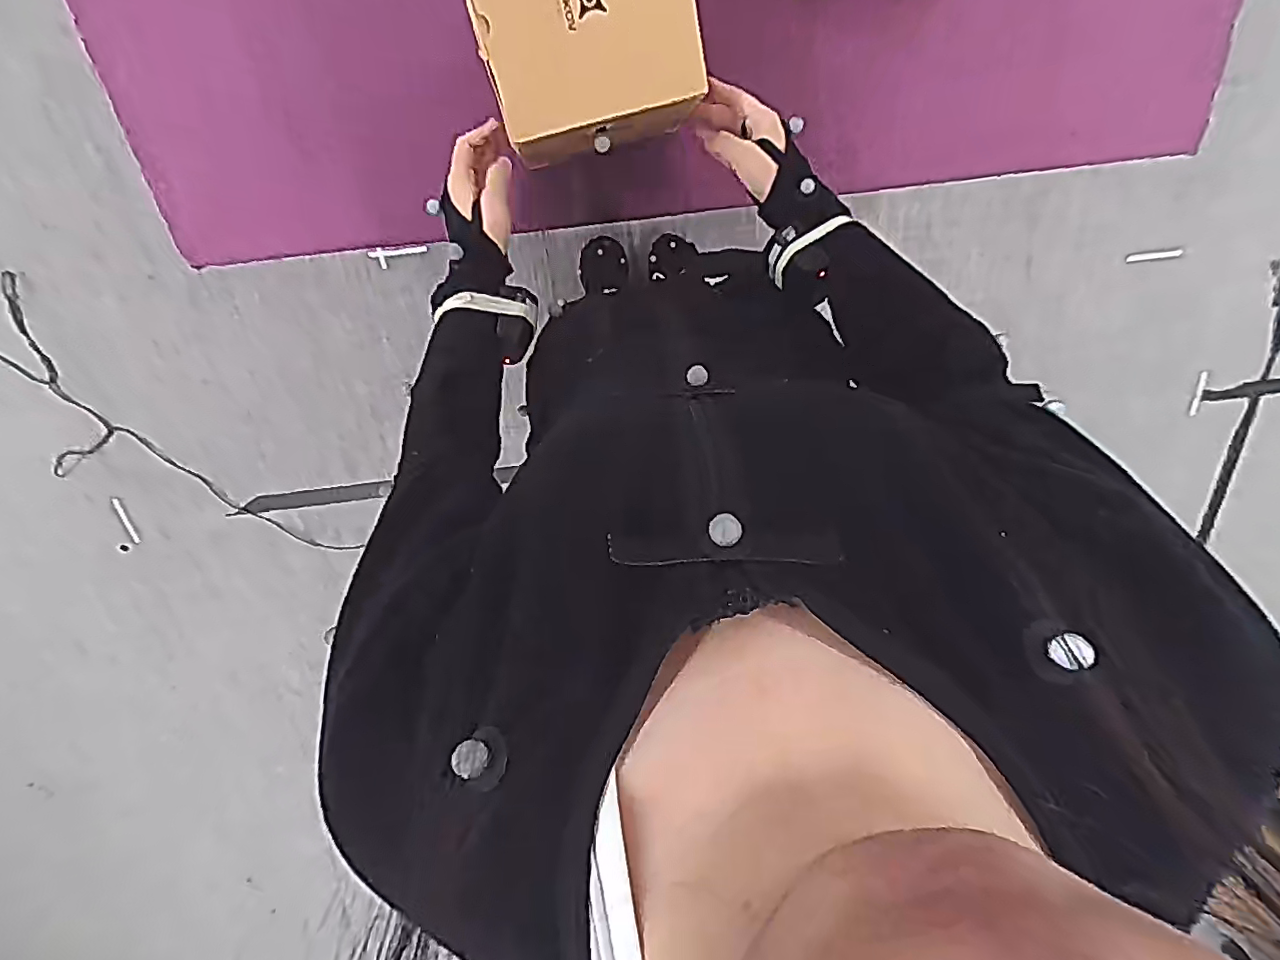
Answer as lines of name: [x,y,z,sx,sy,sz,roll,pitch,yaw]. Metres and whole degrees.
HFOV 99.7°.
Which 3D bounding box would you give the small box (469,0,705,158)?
small box: [-0.052,-0.413,0.495,0.179,0.176,0.168,-14,115,2]
